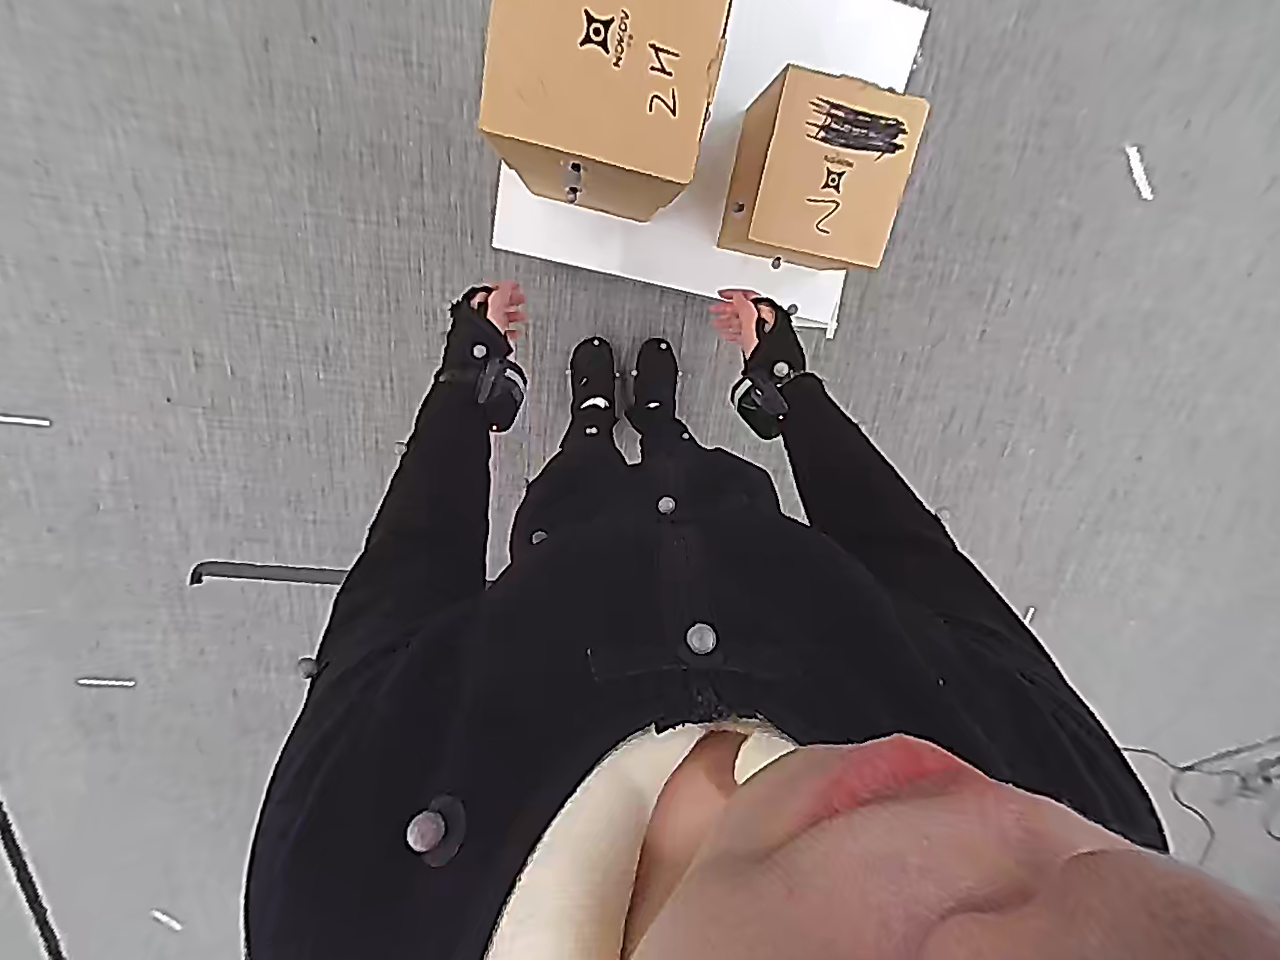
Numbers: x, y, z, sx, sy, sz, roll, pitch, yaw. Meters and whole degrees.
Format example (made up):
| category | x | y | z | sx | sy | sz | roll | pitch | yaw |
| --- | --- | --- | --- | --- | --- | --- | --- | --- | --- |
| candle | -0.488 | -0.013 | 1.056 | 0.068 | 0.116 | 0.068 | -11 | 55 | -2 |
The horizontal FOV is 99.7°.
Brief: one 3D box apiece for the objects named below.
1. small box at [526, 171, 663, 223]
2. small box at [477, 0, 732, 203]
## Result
| category | x | y | z | sx | sy | sz | roll | pitch | yaw |
| --- | --- | --- | --- | --- | --- | --- | --- | --- | --- |
| small box | -0.043 | -0.421 | 0.634 | 0.168 | 0.176 | 0.179 | 11 | 108 | -9 |
| small box | -0.031 | -0.360 | 0.481 | 0.179 | 0.176 | 0.168 | 10 | 110 | -9 |
